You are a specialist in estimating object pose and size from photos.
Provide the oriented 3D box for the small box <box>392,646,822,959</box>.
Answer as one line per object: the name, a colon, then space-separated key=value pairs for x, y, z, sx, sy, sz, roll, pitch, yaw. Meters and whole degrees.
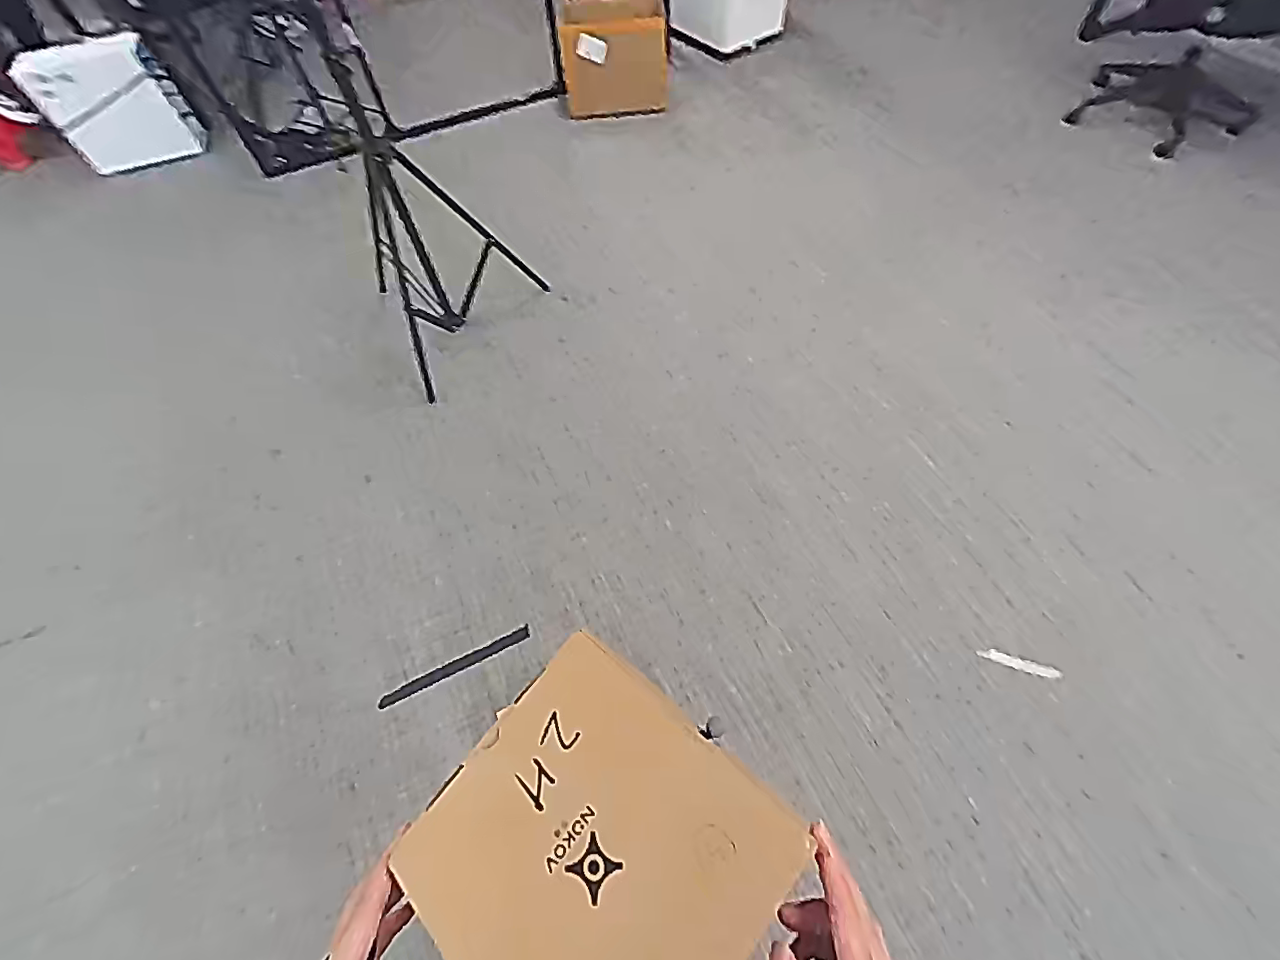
small box: x=-0.008 y=0.240 z=0.349 sx=0.179 sy=0.176 sz=0.168 roll=34 pitch=74 yaw=28
